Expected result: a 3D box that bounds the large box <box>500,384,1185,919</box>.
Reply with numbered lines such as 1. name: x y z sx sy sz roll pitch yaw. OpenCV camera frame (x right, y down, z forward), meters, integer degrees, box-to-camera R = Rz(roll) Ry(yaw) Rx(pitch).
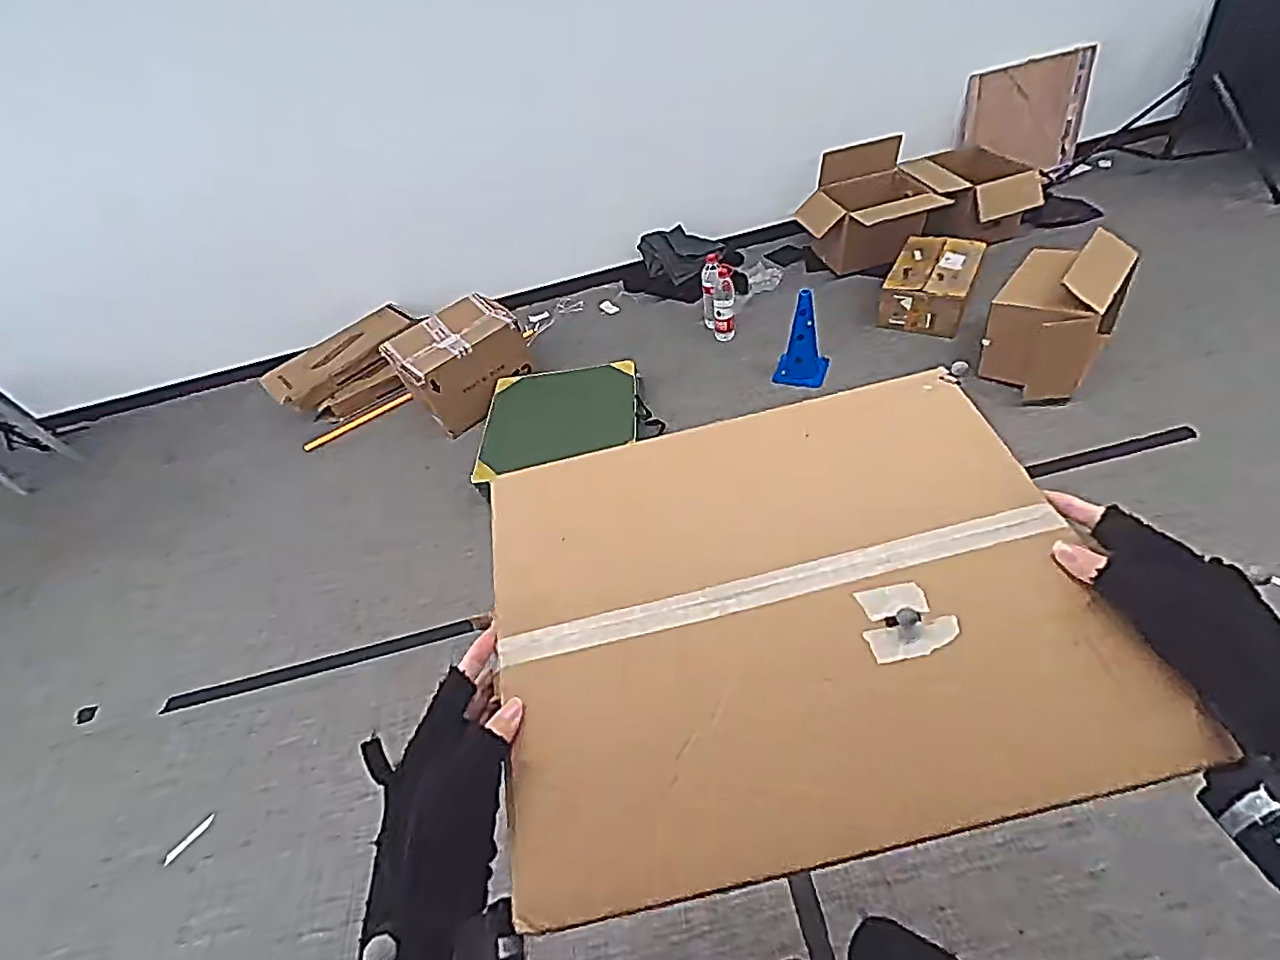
1. large box: 0.116 0.164 0.518 0.408 0.320 0.320 -14 56 -1
